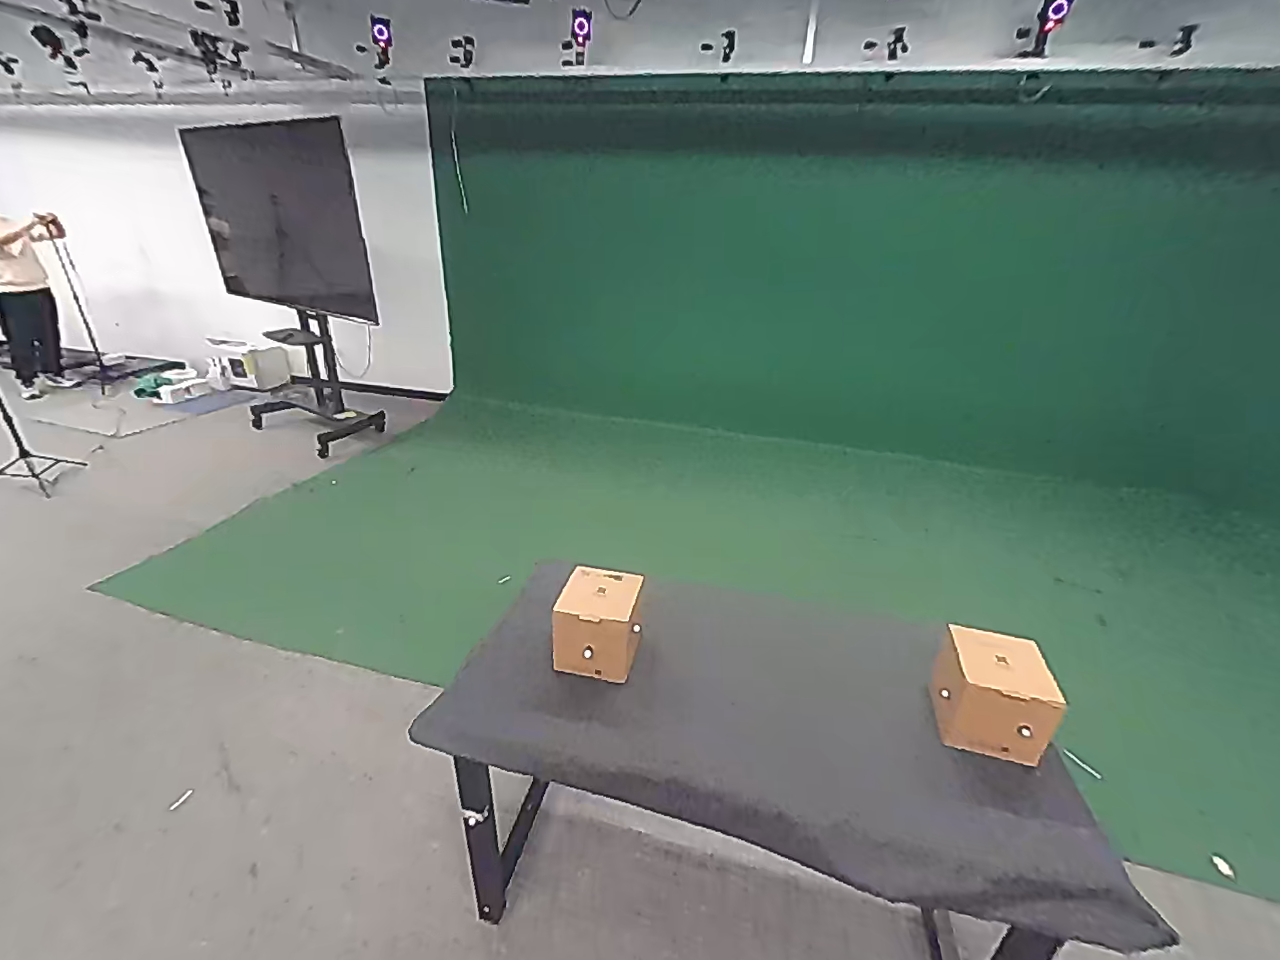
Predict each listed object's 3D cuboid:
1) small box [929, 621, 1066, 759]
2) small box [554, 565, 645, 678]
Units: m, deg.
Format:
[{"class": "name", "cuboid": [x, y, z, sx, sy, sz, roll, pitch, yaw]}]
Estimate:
[{"class": "small box", "cuboid": [0.702, 0.419, 1.086, 0.168, 0.176, 0.179, 10, 25, 14]}, {"class": "small box", "cuboid": [-0.086, 0.321, 1.232, 0.168, 0.176, 0.179, 8, 26, 10]}]
